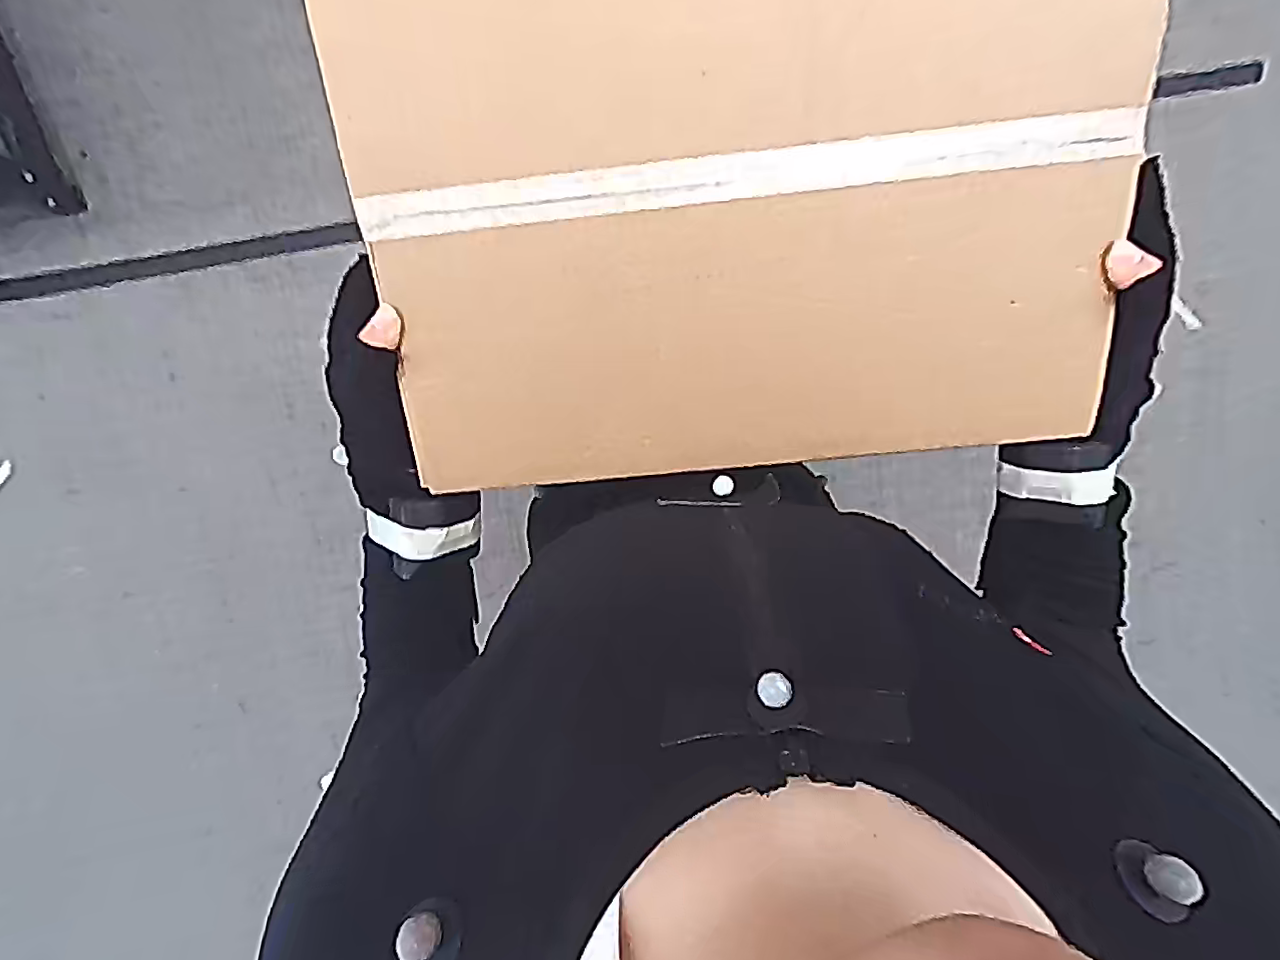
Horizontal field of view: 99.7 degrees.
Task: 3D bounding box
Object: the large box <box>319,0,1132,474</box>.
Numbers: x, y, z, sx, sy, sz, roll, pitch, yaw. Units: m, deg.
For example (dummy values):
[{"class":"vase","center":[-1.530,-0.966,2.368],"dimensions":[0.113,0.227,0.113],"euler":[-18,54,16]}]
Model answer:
[{"class":"large box","center":[0.047,-0.214,0.431],"dimensions":[0.408,0.320,0.320],"euler":[-5,109,2]}]
